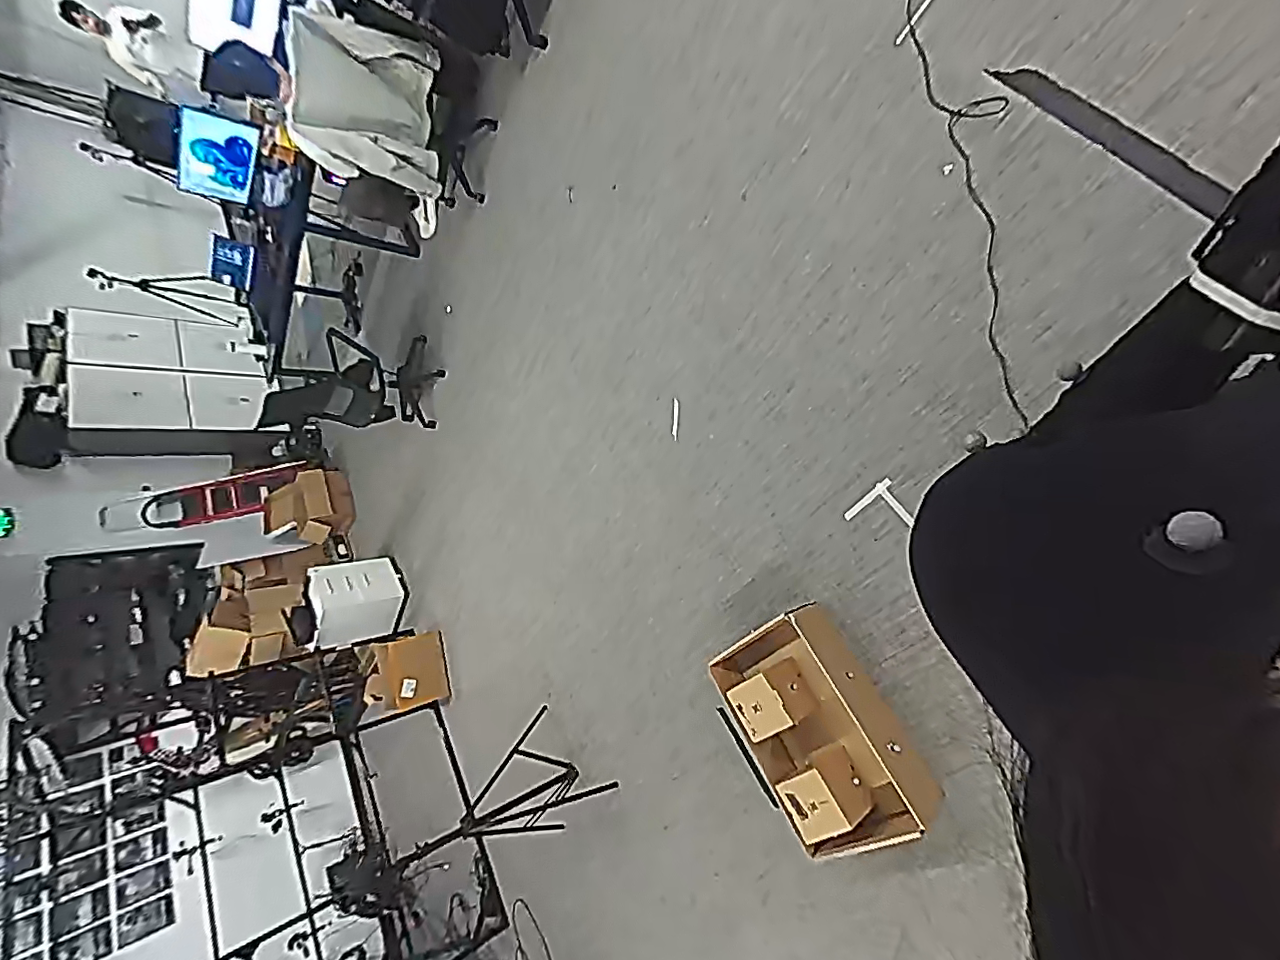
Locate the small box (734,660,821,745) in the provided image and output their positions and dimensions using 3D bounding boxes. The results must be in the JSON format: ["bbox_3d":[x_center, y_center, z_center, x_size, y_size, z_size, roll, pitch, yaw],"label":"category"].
[{"bbox_3d":[0.430,0.680,1.666,0.179,0.176,0.168,-47,64,36],"label":"small box"}]
